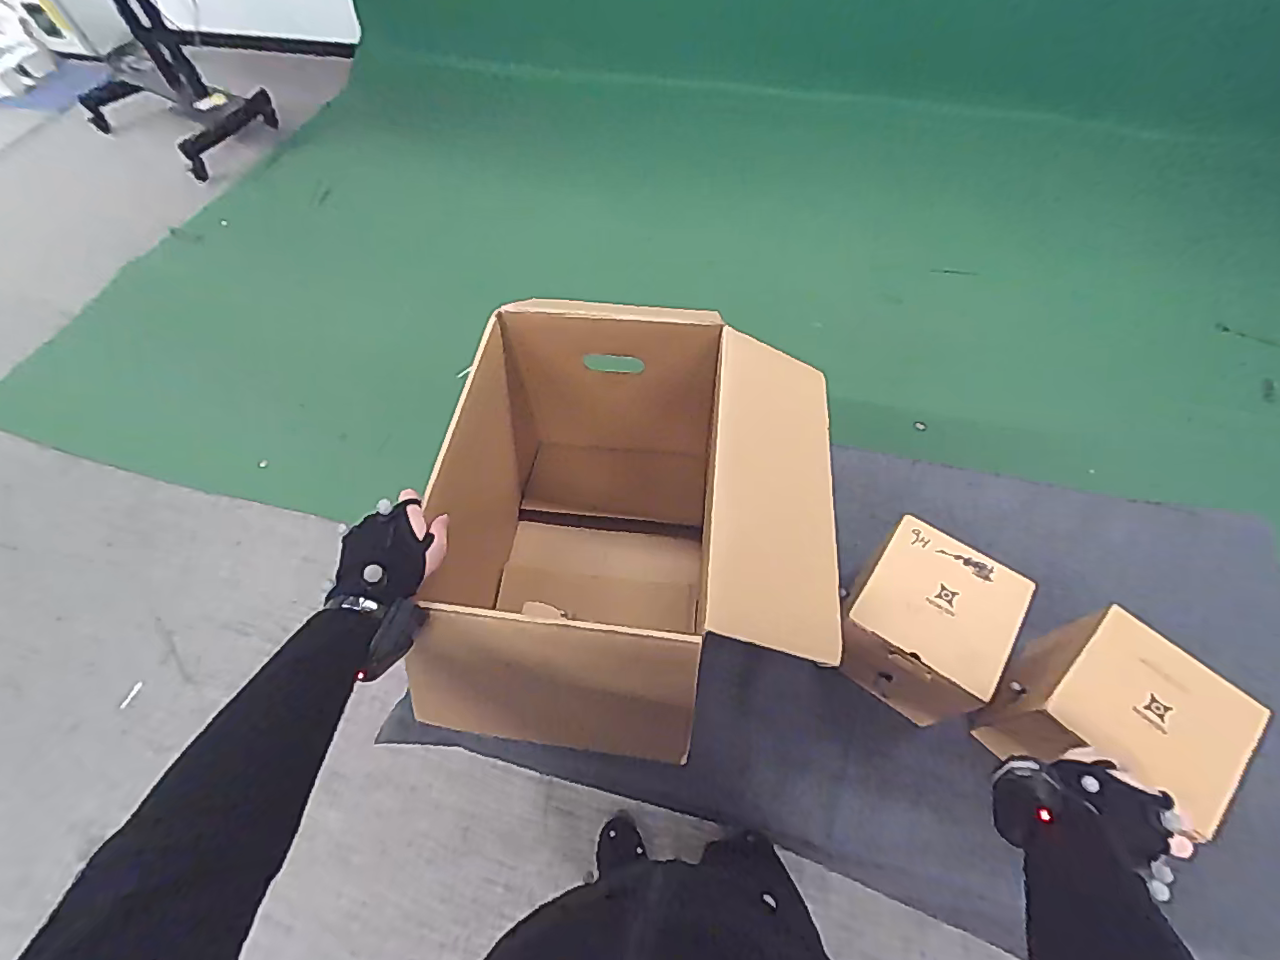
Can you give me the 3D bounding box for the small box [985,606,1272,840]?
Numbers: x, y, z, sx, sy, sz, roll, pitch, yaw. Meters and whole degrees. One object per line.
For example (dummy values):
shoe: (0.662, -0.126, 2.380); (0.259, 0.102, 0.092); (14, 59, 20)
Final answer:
small box: (0.555, 0.289, 0.643); (0.179, 0.176, 0.168); (-39, 65, -21)
